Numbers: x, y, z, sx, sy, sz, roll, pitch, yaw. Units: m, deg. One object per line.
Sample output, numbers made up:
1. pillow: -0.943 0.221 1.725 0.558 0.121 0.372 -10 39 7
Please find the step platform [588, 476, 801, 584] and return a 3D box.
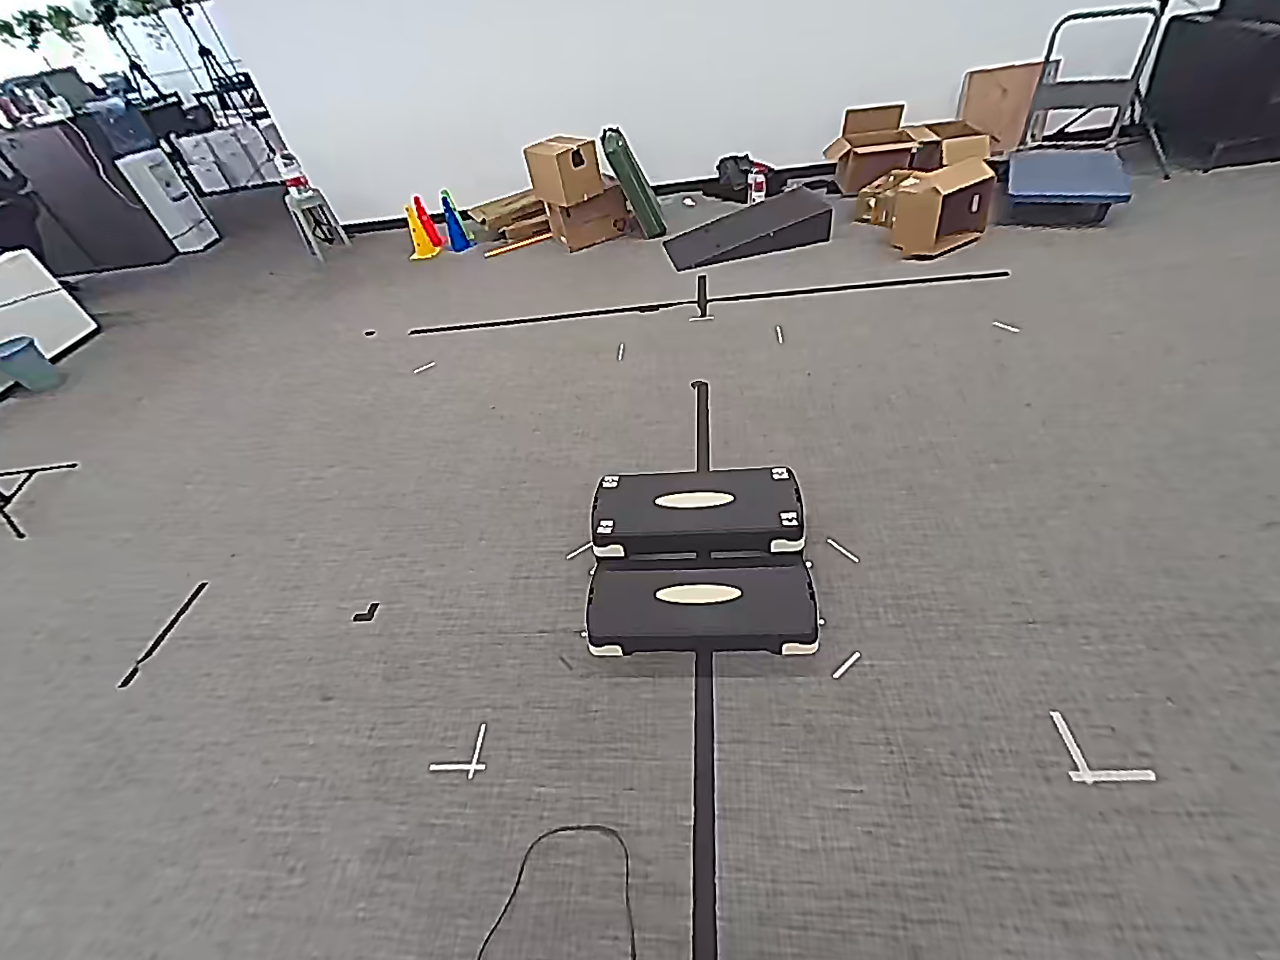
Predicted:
1. step platform: 0.171 0.158 1.769 0.684 0.204 0.286 -3 45 7
